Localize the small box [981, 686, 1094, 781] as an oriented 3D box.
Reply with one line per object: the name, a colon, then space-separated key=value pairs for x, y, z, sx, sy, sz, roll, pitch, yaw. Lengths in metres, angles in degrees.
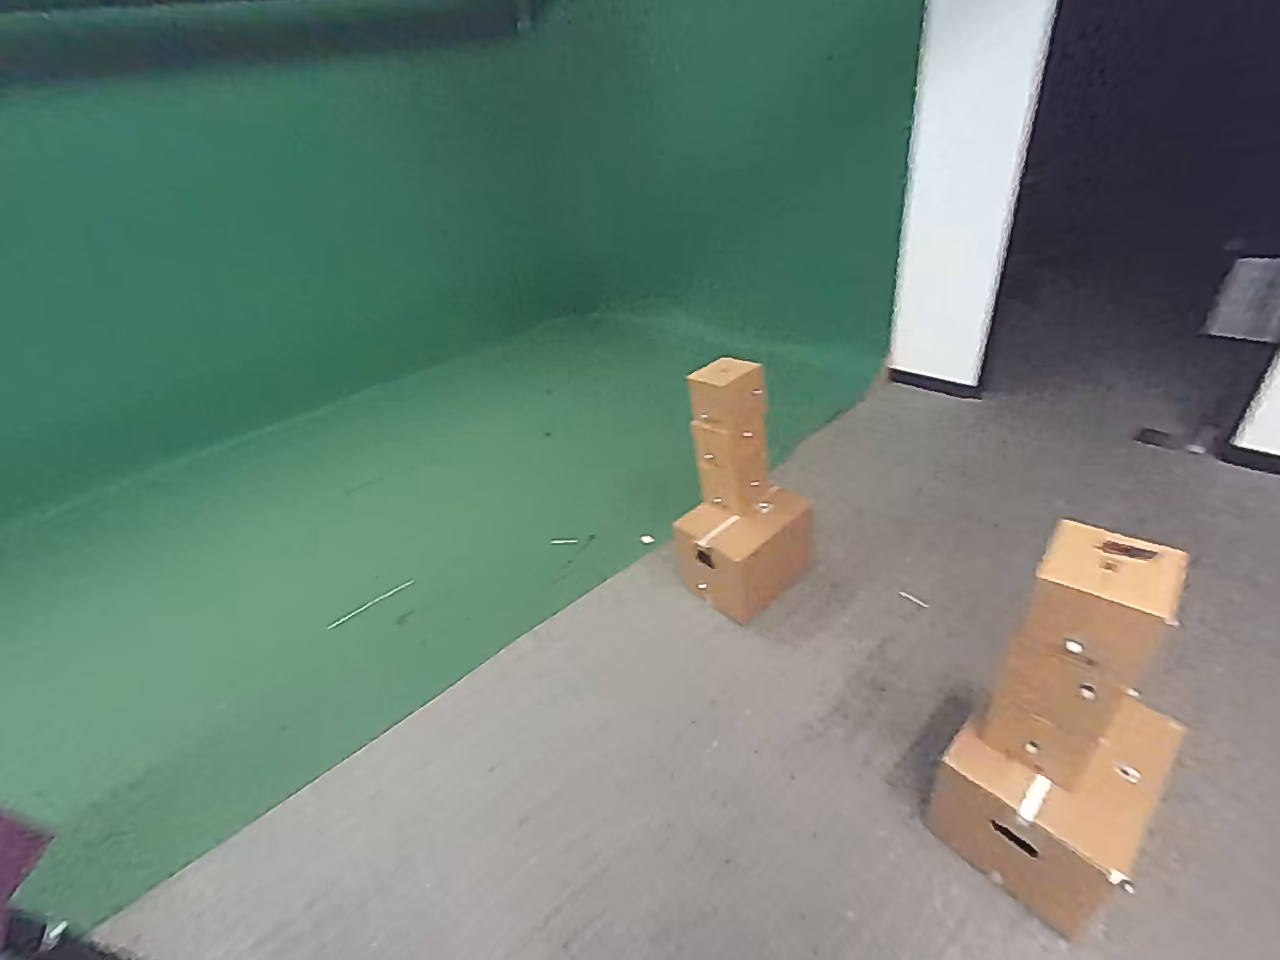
small box: x=0.826 y=0.469 z=1.110 sx=0.179 sy=0.176 sz=0.168 roll=-35 pitch=40 yaw=-30

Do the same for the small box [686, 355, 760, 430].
small box: x=0.275 y=-0.288 z=1.764 sx=0.179 sy=0.176 sz=0.168 roll=-32 pitch=36 yaw=-26

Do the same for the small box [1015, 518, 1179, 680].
small box: x=0.773 y=0.199 z=0.927 sx=0.168 sy=0.176 sz=0.179 roll=21 pitch=46 yaw=40

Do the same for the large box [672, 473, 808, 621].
large box: x=0.376 y=0.236 z=1.994 sx=0.408 sy=0.320 sz=0.320 roll=-31 pitch=39 yaw=-28

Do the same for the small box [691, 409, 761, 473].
small box: x=0.299 y=-0.152 z=1.850 sx=0.179 sy=0.176 sz=0.168 roll=-33 pitch=37 yaw=-27

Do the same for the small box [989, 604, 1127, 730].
small box: x=0.795 y=0.335 z=1.018 sx=0.168 sy=0.176 sz=0.179 roll=-34 pitch=39 yaw=-31
